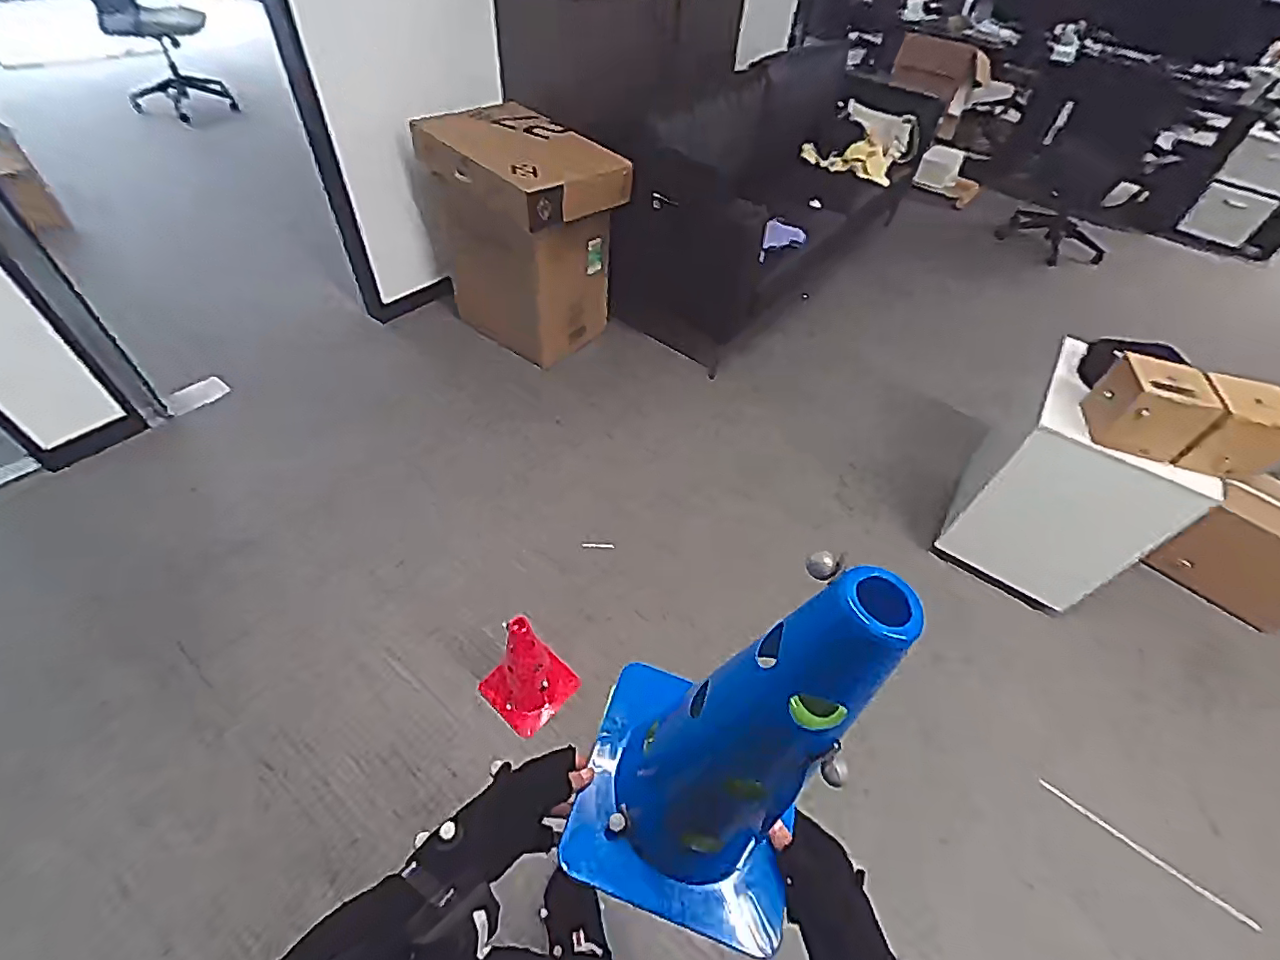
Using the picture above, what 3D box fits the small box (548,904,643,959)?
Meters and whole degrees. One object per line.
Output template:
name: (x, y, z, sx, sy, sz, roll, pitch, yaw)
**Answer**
small box: (-0.092, 0.938, 1.044, 0.168, 0.176, 0.179, 9, 52, -7)
